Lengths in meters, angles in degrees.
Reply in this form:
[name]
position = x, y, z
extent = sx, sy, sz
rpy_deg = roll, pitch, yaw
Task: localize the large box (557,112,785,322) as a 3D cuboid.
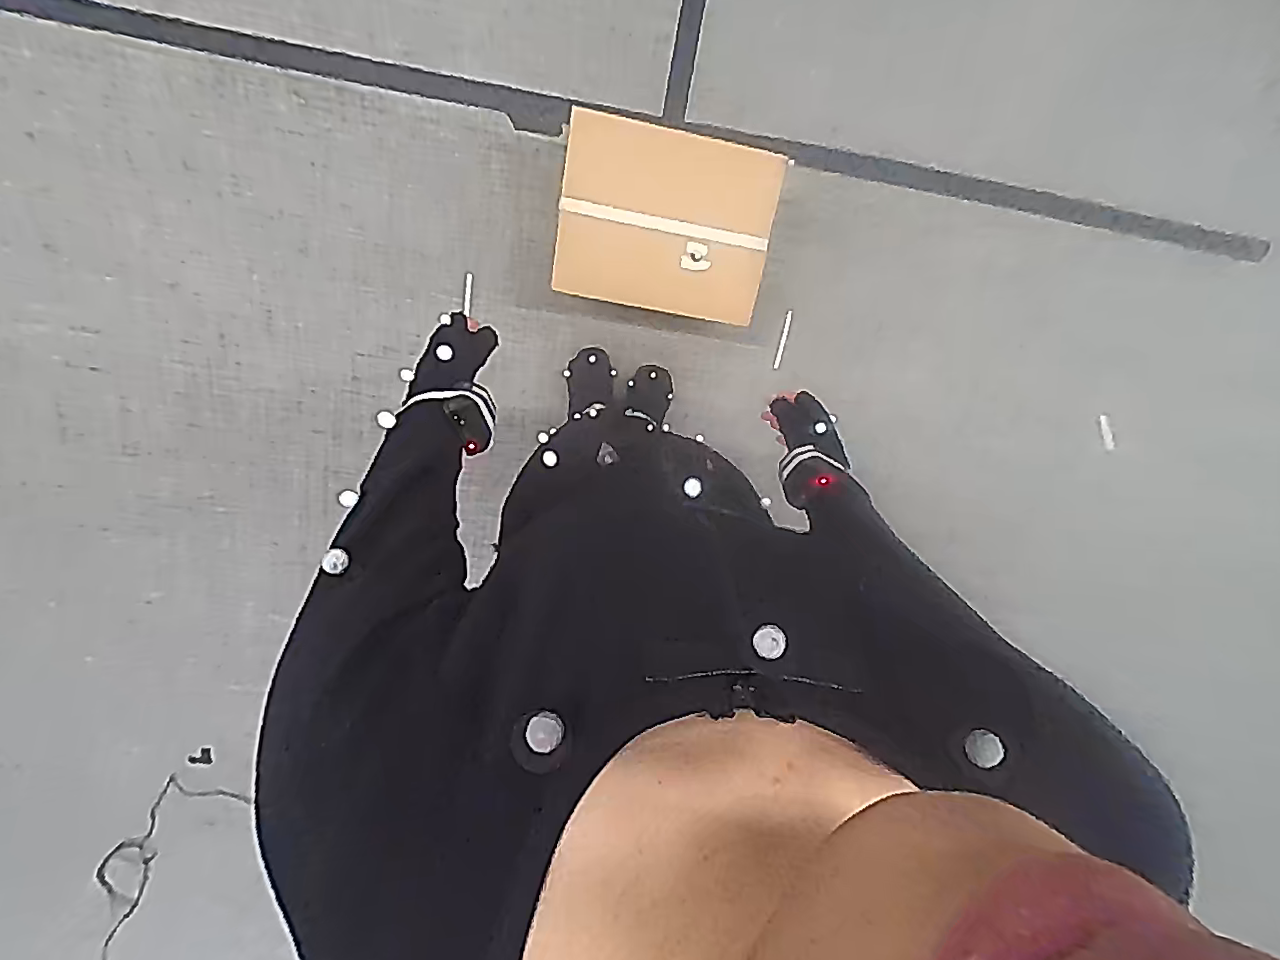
[large box]
position = 0.039, -0.537, 1.168
extent = 0.408, 0.320, 0.320
rpy_deg = 7, 110, -8
